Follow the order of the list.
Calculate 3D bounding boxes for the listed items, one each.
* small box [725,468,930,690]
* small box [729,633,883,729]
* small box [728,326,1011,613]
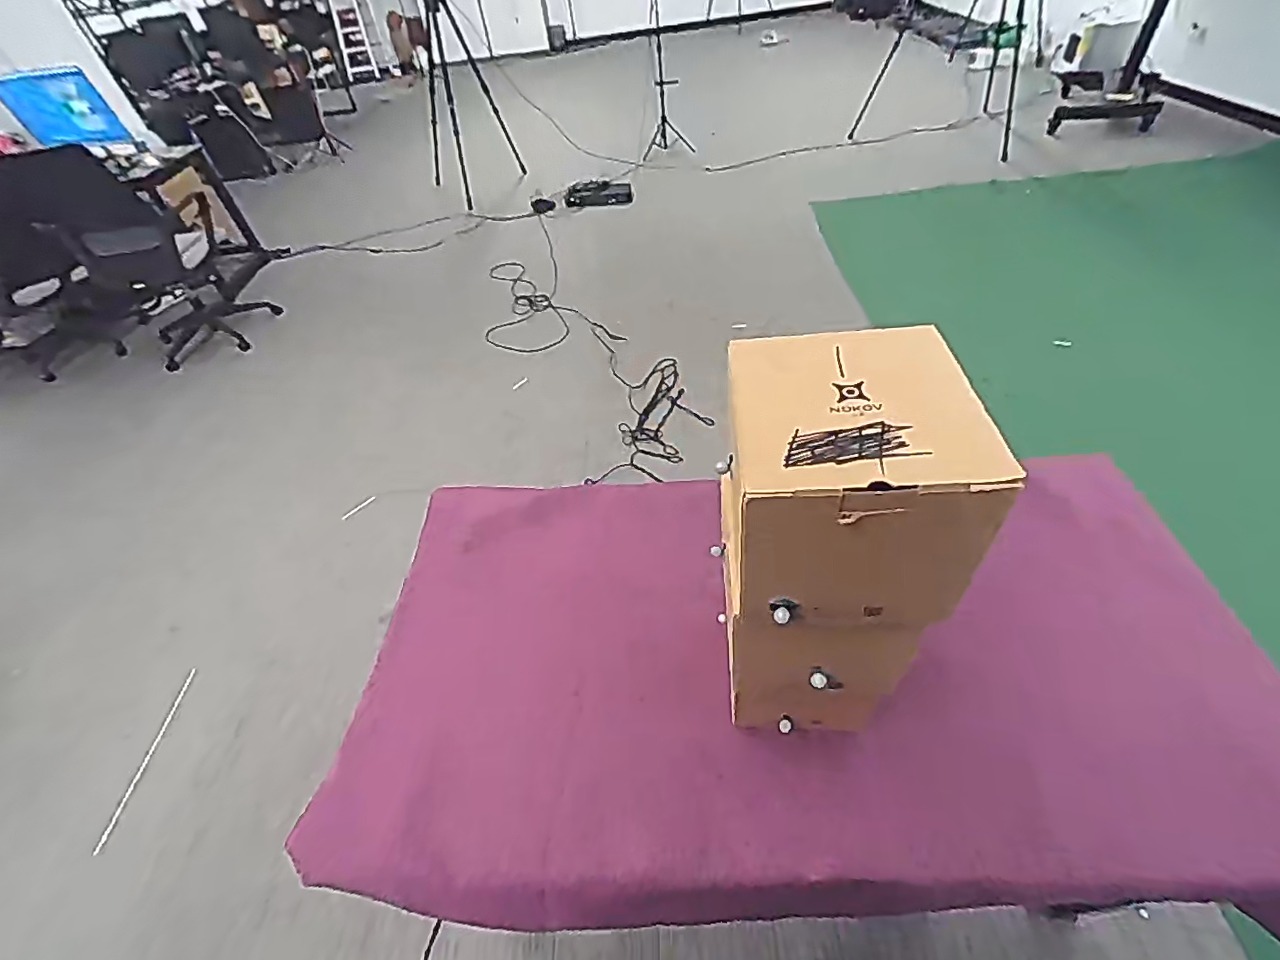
[{"bbox_3d":[0.177,0.102,0.574,0.168,0.176,0.179,-3,47,8],"label":"small box"},{"bbox_3d":[0.201,0.201,0.703,0.168,0.176,0.179,-2,47,8],"label":"small box"},{"bbox_3d":[0.161,-0.003,0.448,0.168,0.176,0.179,-2,46,8],"label":"small box"}]
